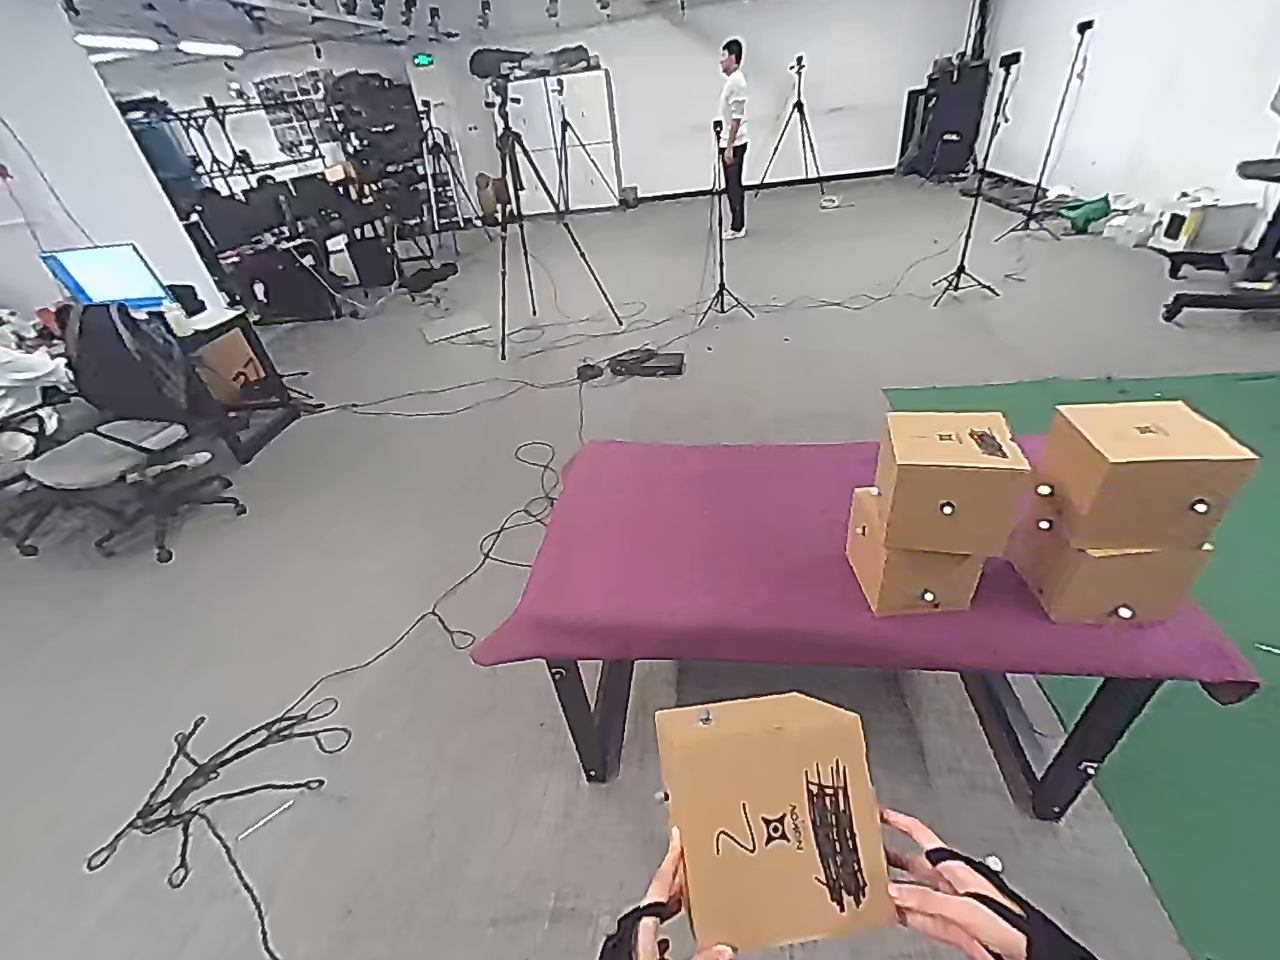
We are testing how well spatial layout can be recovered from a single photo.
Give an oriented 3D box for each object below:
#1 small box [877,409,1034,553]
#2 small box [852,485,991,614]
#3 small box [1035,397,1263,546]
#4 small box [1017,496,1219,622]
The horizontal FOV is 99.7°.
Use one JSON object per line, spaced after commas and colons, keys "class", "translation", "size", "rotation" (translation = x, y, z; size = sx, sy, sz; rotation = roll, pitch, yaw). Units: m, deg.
{"class": "small box", "translation": [0.492, 0.000, 0.874], "size": [0.179, 0.176, 0.168], "rotation": [2, 36, 17]}
{"class": "small box", "translation": [0.499, 0.120, 0.989], "size": [0.168, 0.176, 0.179], "rotation": [-6, 35, 5]}
{"class": "small box", "translation": [0.757, -0.012, 0.833], "size": [0.179, 0.176, 0.168], "rotation": [-1, 36, 12]}
{"class": "small box", "translation": [0.789, 0.124, 0.920], "size": [0.179, 0.176, 0.168], "rotation": [-4, 35, 7]}
